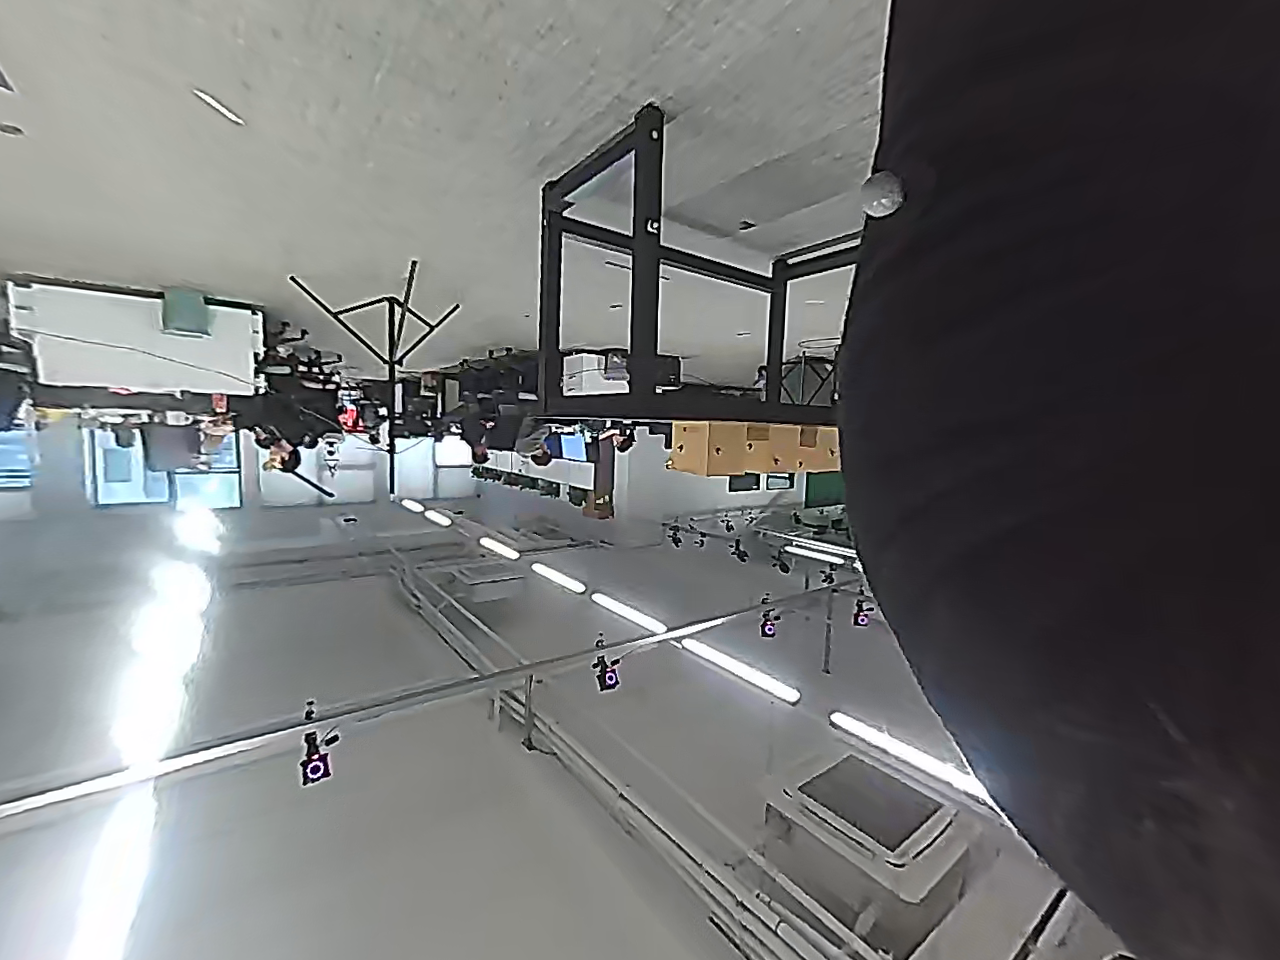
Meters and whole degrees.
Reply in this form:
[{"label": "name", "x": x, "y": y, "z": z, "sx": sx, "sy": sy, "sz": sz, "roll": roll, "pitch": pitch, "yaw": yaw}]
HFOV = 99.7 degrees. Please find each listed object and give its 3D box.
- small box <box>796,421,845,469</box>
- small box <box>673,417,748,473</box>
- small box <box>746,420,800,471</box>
[{"label": "small box", "x": 0.658, "y": -0.135, "z": 2.051, "sx": 0.179, "sy": 0.176, "sz": 0.168, "roll": -3, "pitch": -173, "yaw": -35}, {"label": "small box", "x": 0.224, "y": -0.115, "z": 1.719, "sx": 0.179, "sy": 0.176, "sz": 0.168, "roll": -3, "pitch": -171, "yaw": -37}, {"label": "small box", "x": 0.440, "y": -0.124, "z": 1.888, "sx": 0.179, "sy": 0.176, "sz": 0.168, "roll": -3, "pitch": -172, "yaw": -38}]
